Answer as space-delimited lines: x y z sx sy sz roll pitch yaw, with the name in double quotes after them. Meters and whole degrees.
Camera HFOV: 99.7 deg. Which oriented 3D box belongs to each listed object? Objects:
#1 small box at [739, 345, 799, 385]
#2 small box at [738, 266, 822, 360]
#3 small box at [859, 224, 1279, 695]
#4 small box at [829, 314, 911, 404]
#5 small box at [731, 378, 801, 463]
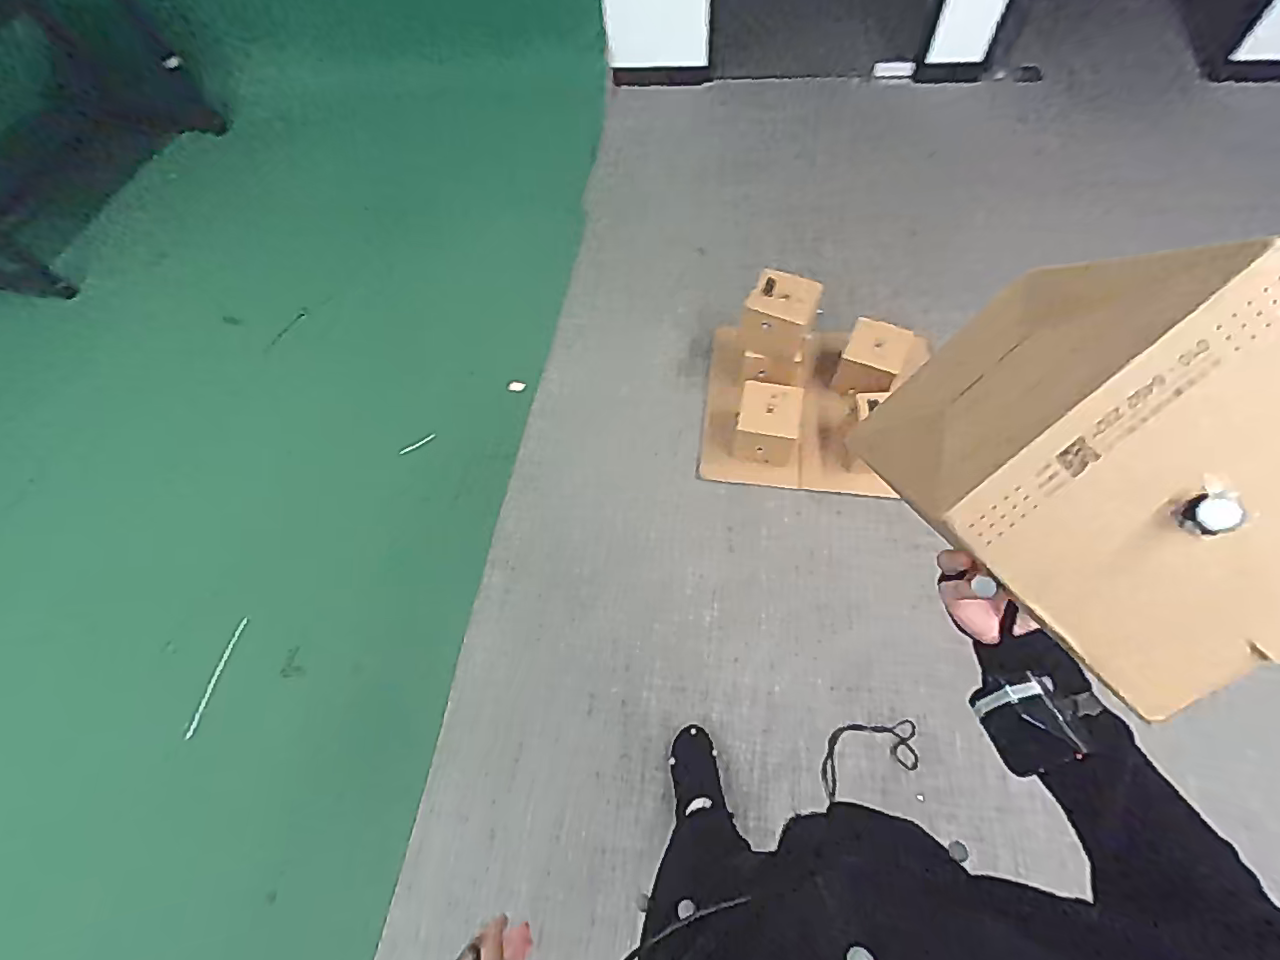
0.406 -0.402 1.703 0.168 0.176 0.179 7 63 8 "small box"
0.394 -0.475 1.556 0.179 0.176 0.168 24 66 15 "small box"
0.264 -0.021 0.325 0.176 0.179 0.168 43 106 -6 "small box"
0.699 -0.367 1.658 0.168 0.176 0.179 23 66 16 "small box"
0.365 -0.169 1.583 0.168 0.176 0.179 11 64 9 "small box"
